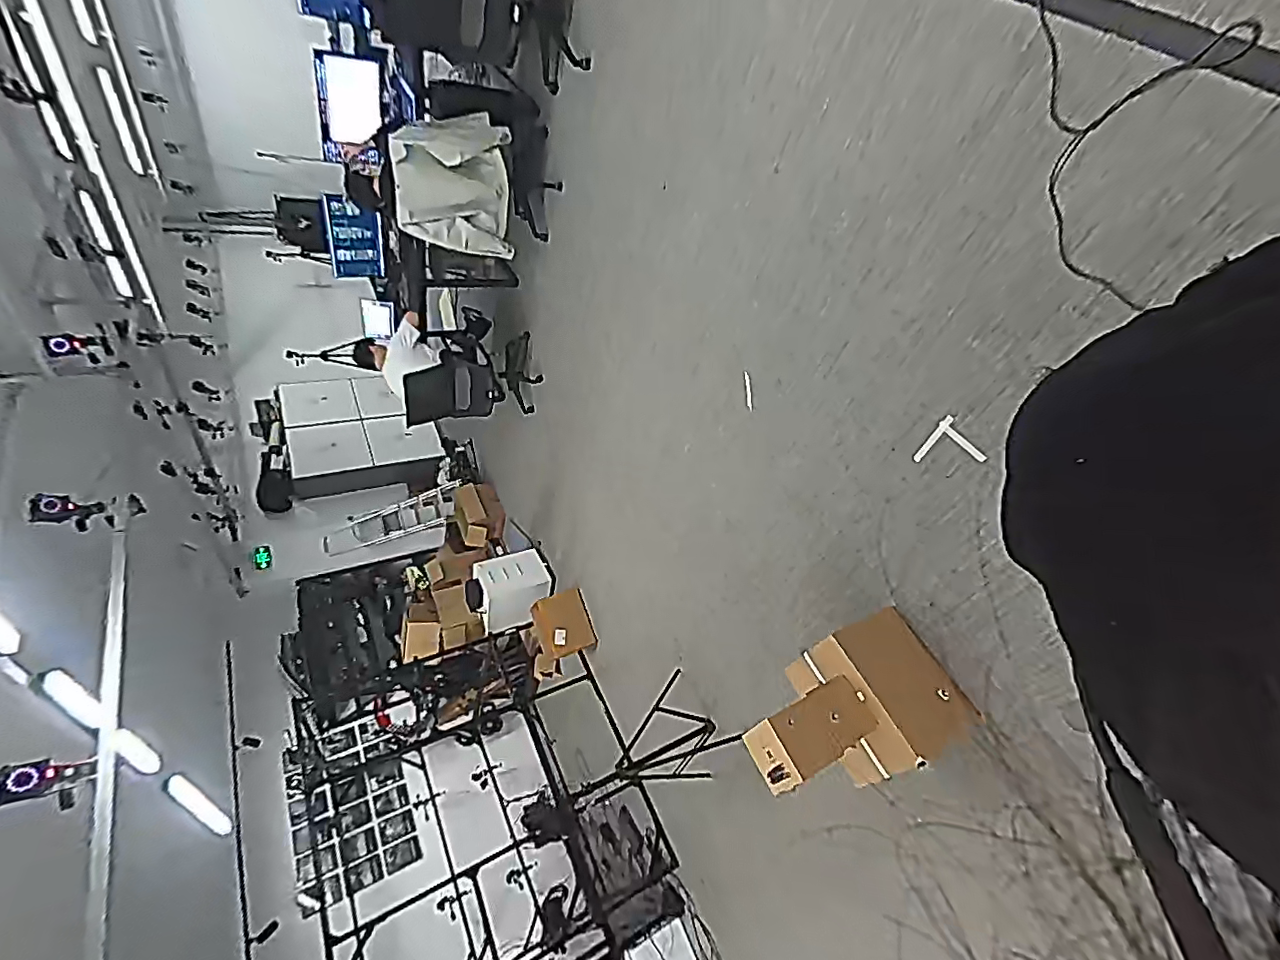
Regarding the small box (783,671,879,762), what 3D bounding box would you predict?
[{"bbox_3d":[0.576,0.708,1.627,0.179,0.176,0.168,58,144,32],"label":"small box"}]
